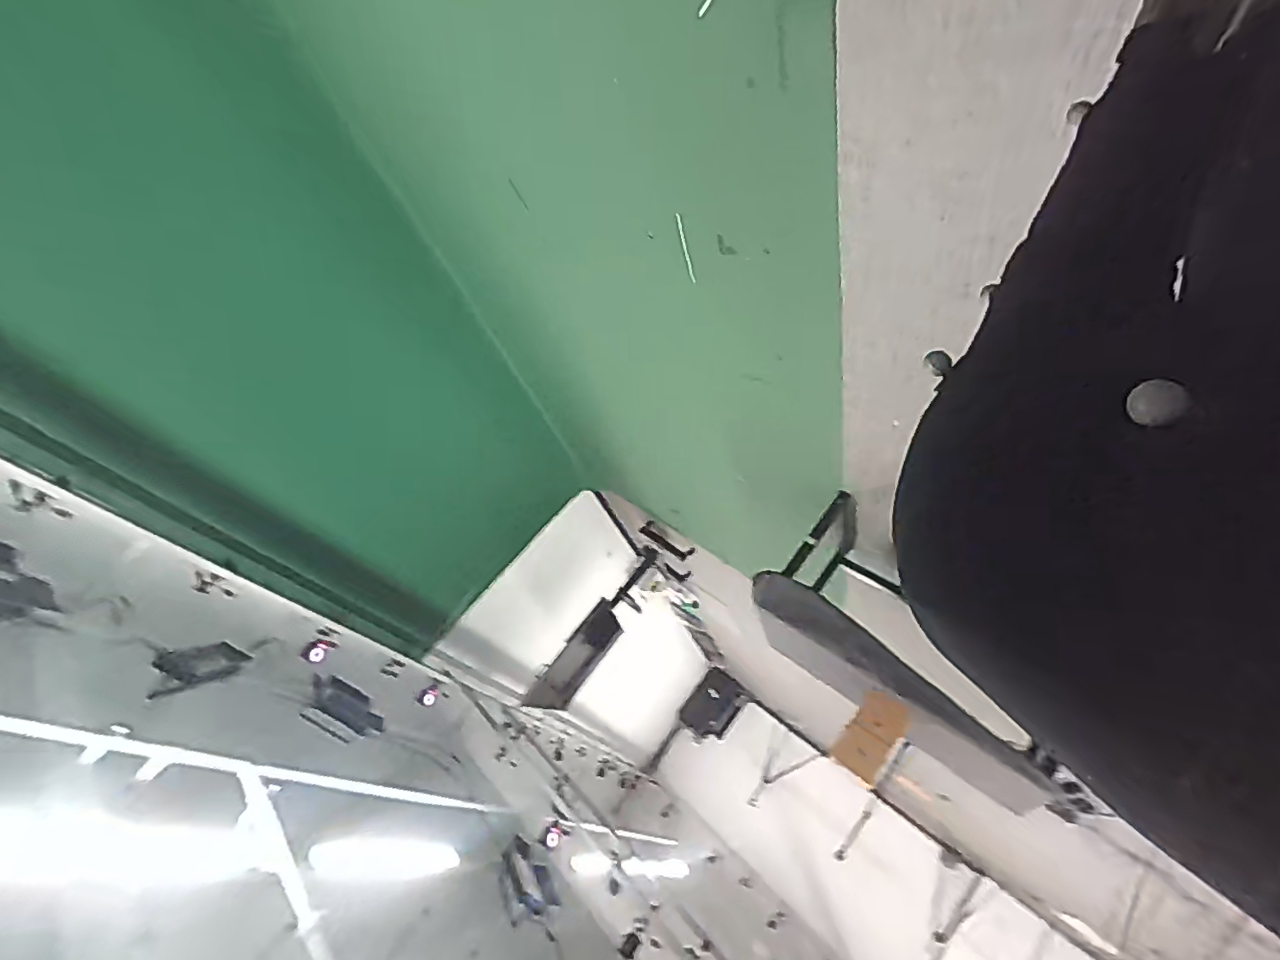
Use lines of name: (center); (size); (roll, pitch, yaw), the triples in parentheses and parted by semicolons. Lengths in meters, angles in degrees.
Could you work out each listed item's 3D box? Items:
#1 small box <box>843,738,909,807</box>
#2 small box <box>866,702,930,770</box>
small box: (0.927, 1.145, 2.130); (0.179, 0.176, 0.168); (31, 160, 34)
small box: (1.037, 1.033, 2.177); (0.179, 0.176, 0.168); (33, 161, 36)
